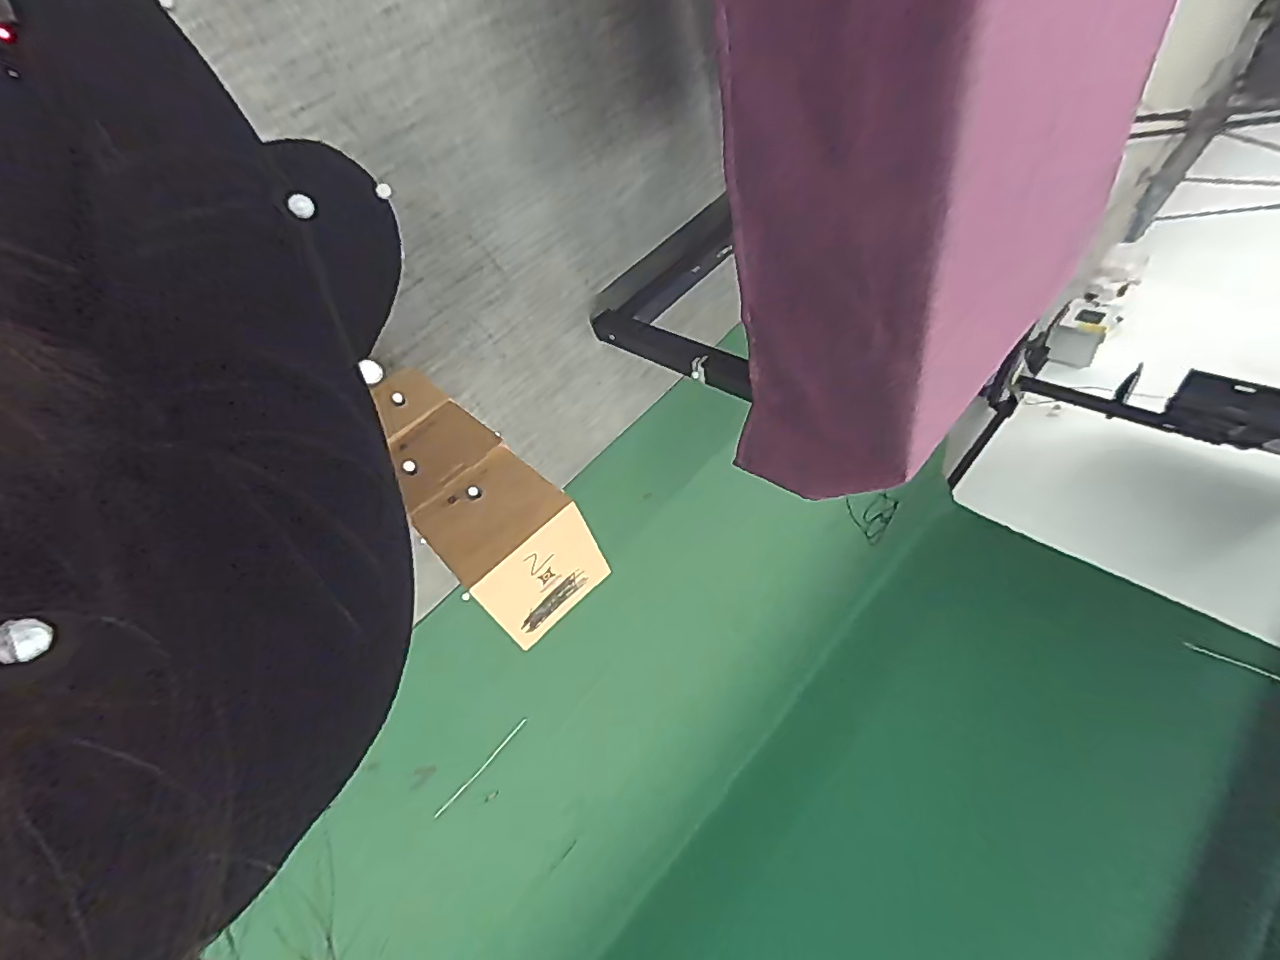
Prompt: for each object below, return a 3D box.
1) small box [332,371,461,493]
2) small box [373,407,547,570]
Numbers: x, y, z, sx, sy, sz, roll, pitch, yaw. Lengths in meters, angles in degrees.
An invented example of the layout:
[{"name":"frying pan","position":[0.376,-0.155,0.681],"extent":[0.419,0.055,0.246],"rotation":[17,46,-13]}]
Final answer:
[{"name":"small box","position":[-0.399,-0.072,0.951],"extent":[0.168,0.176,0.179],"rotation":[-42,142,-21]},{"name":"small box","position":[-0.286,0.005,0.862],"extent":[0.168,0.176,0.179],"rotation":[-43,142,-18]}]
